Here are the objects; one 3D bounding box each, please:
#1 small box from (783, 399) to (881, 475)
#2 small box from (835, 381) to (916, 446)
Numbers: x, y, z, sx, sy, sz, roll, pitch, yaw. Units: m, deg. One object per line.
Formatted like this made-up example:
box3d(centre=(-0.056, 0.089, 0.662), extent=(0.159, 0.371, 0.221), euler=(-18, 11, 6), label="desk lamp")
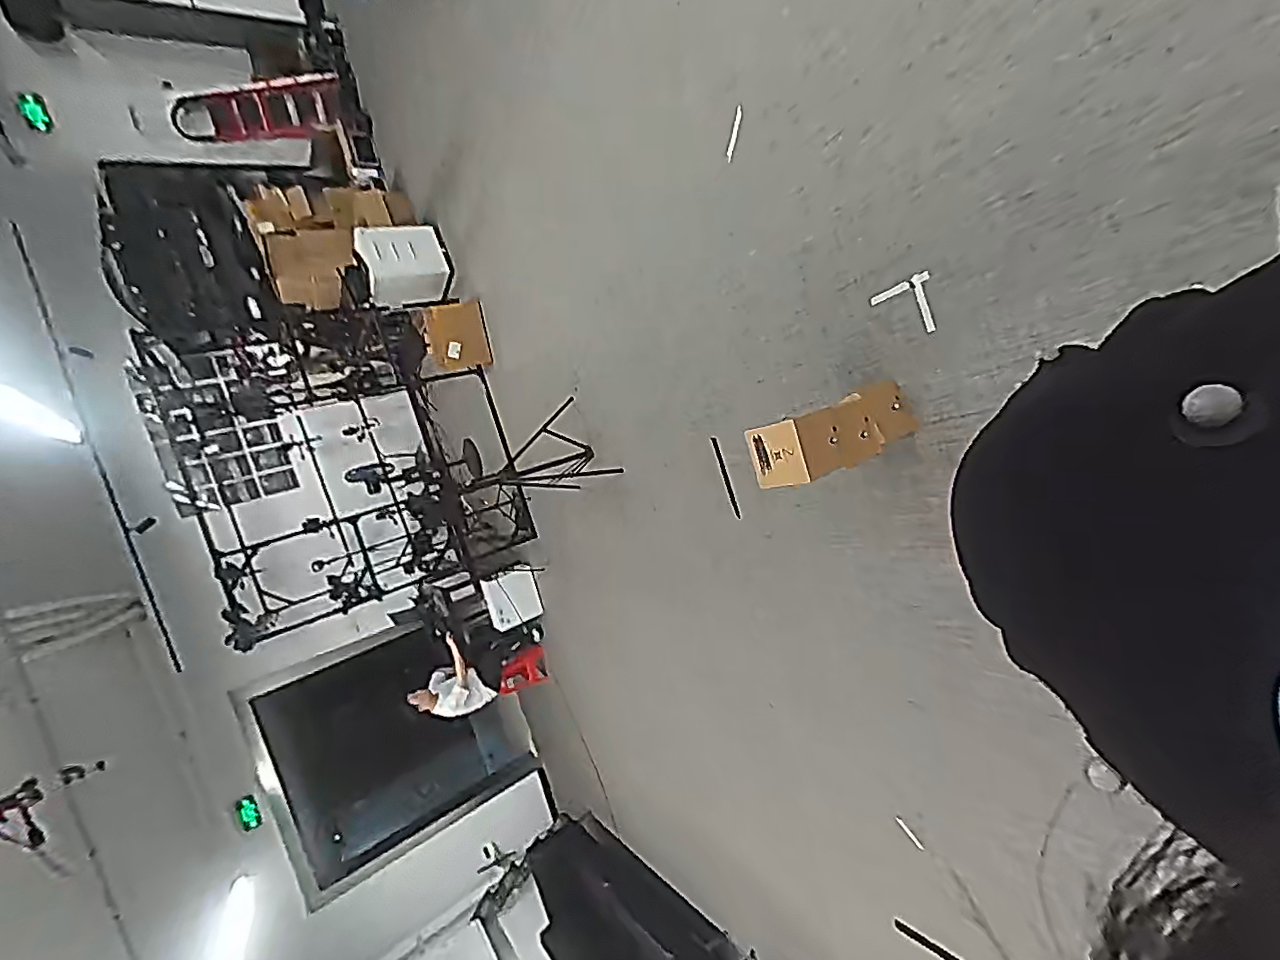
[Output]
box3d(centre=(0.540, -0.119, 1.523), extent=(0.179, 0.176, 0.168), euler=(-11, 97, 58), label="small box")
box3d(centre=(0.672, -0.173, 1.602), extent=(0.179, 0.176, 0.168), euler=(-34, 79, 57), label="small box")
